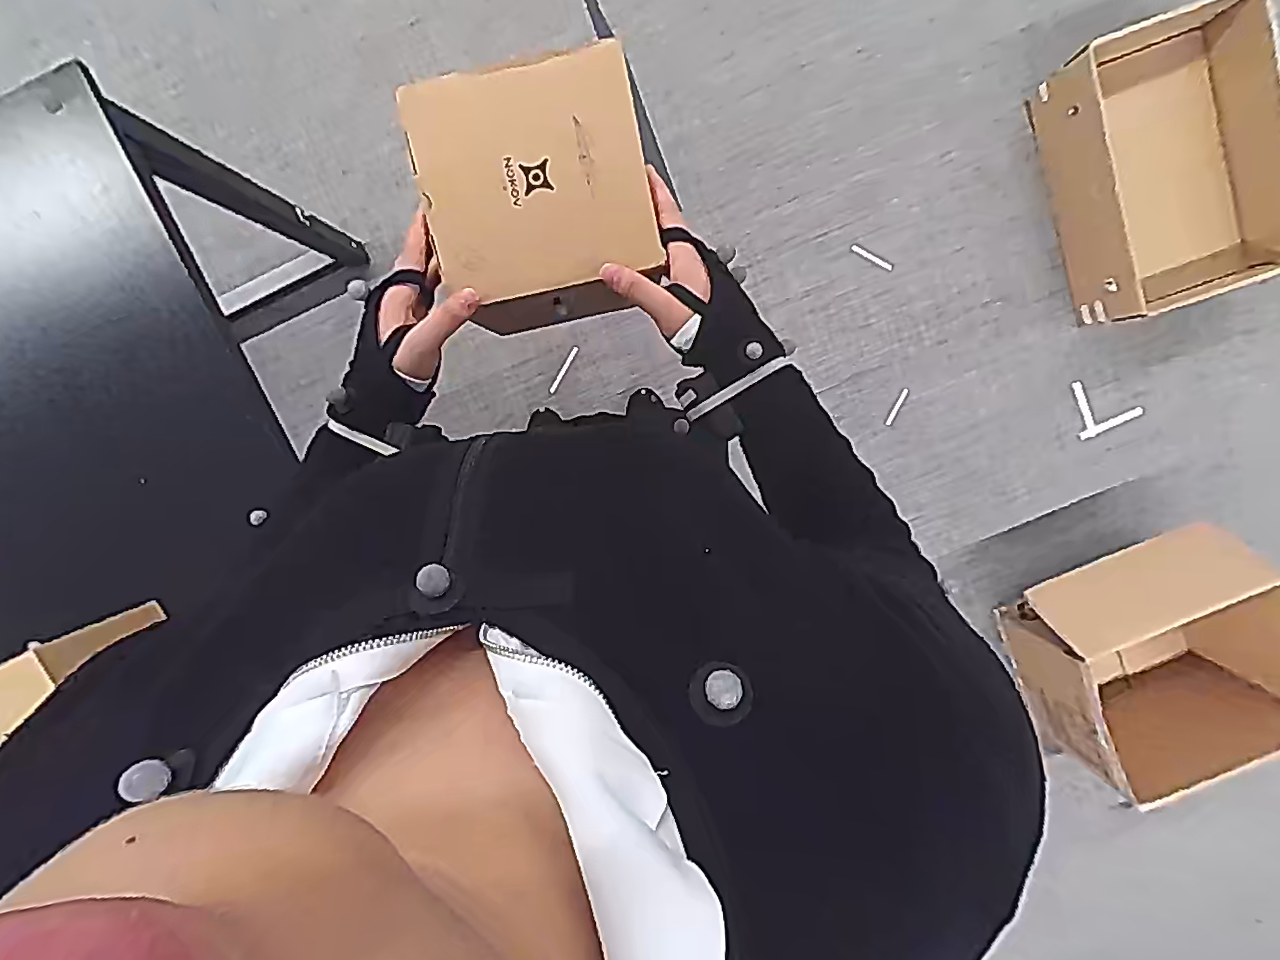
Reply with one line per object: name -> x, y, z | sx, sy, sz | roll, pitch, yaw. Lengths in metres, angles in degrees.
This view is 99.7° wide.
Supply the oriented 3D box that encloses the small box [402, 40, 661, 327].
small box -> -0.081, -0.246, 0.497 | 0.179, 0.176, 0.168 | -12, 99, 2
